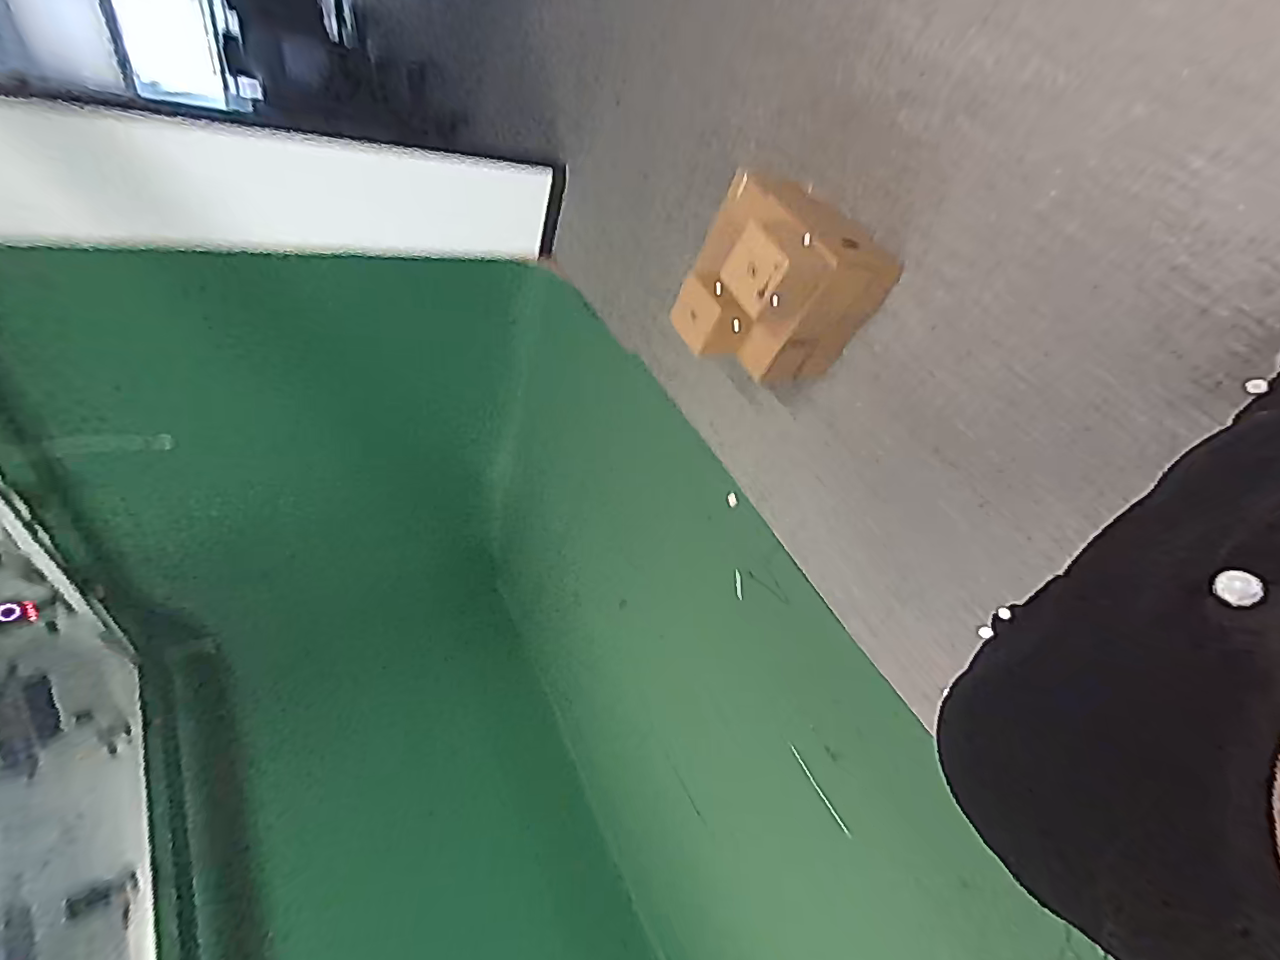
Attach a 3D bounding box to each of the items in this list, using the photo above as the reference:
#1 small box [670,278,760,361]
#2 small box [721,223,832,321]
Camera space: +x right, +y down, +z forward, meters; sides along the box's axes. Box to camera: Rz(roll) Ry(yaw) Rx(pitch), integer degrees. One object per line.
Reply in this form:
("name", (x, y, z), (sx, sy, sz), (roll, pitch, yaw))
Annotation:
("small box", (0.223, -0.474, 1.587), (0.179, 0.176, 0.168), (61, 143, 27))
("small box", (0.346, -0.522, 1.380), (0.179, 0.176, 0.168), (62, 143, 25))
